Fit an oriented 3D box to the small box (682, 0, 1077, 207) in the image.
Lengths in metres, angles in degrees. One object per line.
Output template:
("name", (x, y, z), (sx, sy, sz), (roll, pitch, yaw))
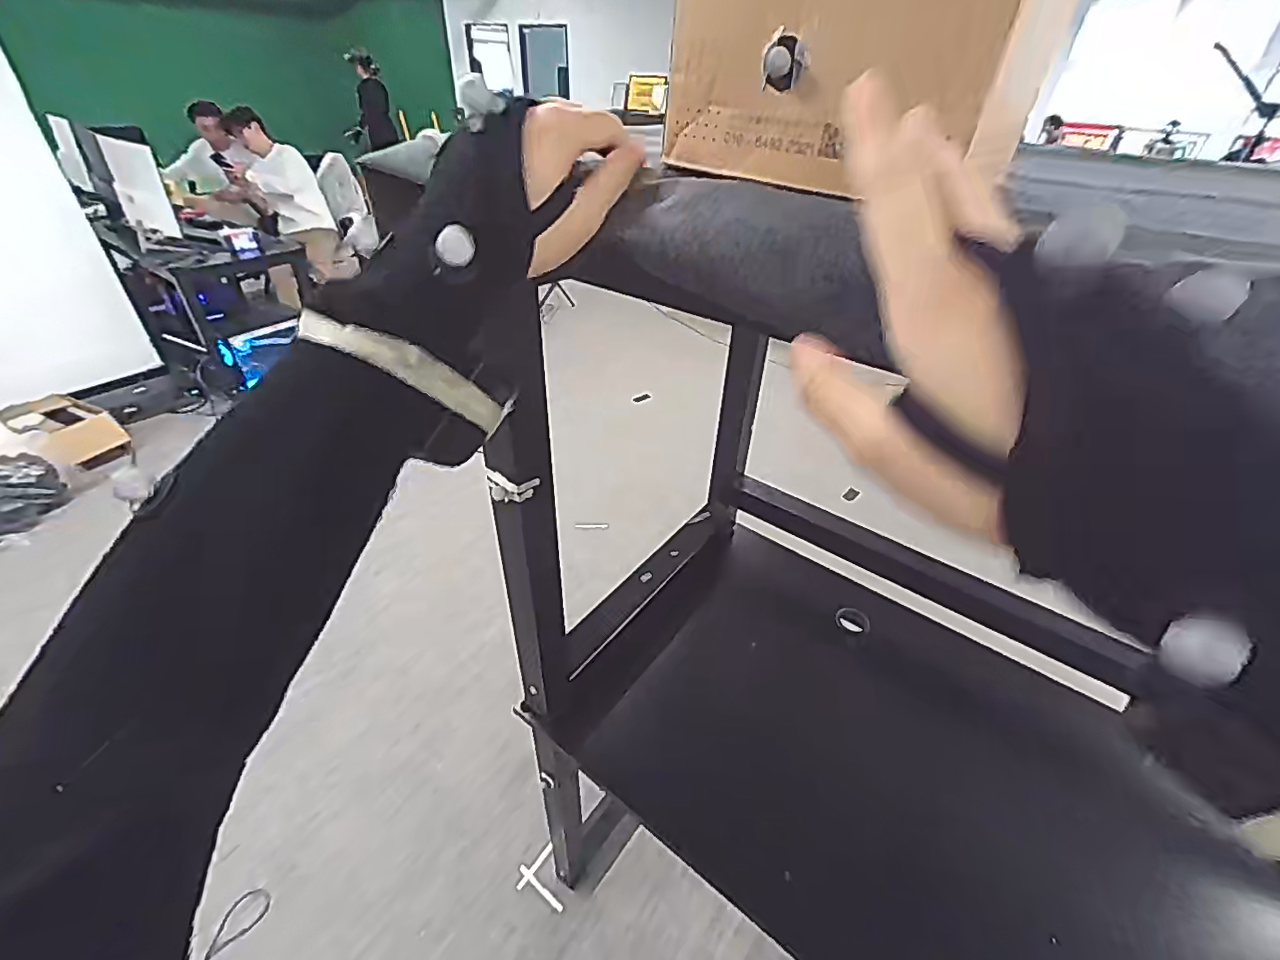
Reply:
("small box", (0.137, -0.263, 0.299), (0.168, 0.176, 0.179), (26, 41, 26))
